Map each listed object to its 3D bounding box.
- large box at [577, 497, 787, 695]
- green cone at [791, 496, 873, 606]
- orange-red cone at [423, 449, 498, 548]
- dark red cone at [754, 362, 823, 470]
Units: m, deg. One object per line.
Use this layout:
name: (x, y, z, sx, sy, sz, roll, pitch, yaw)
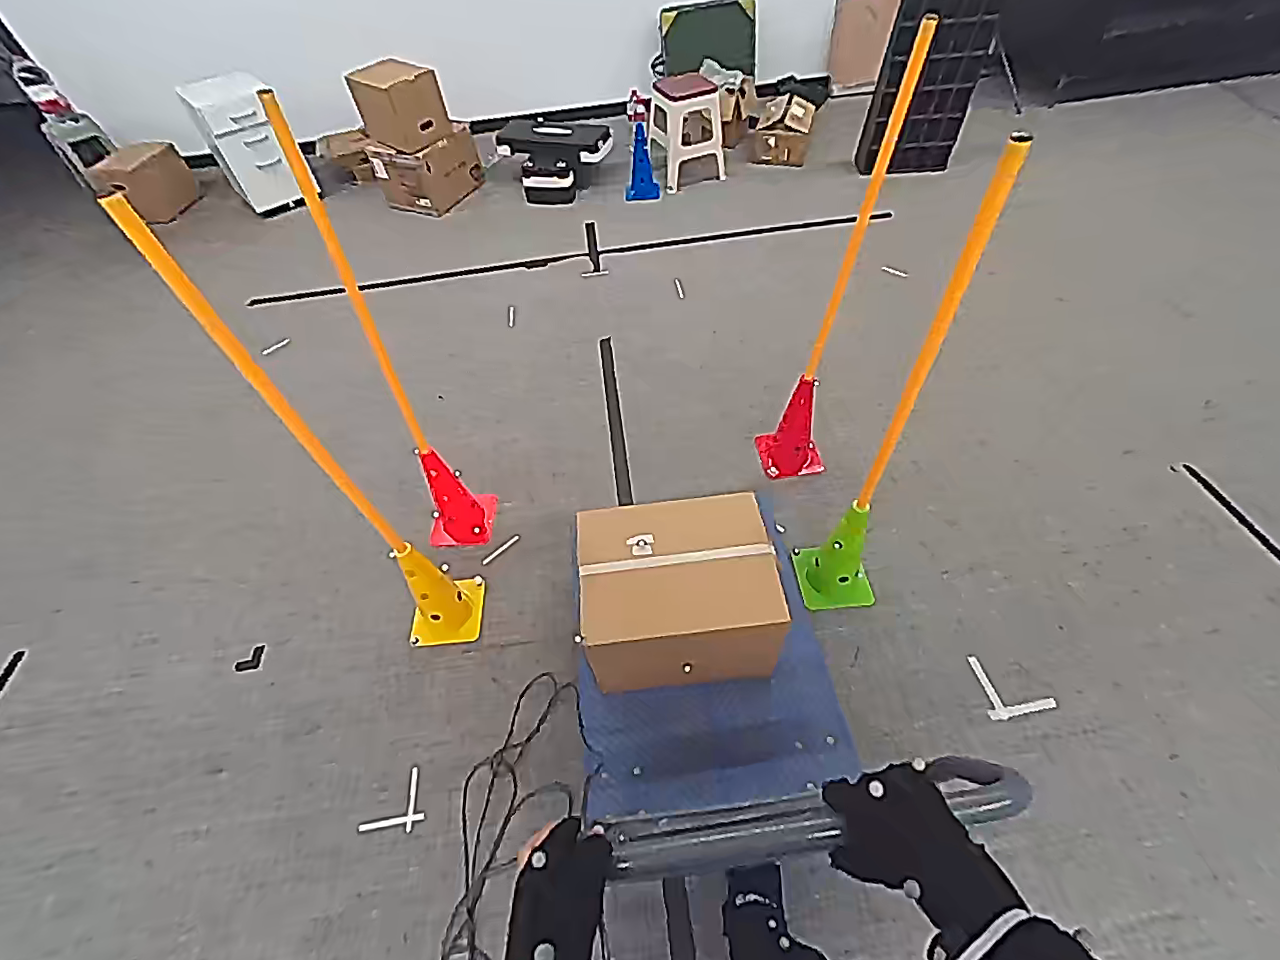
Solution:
large box: (0.085, 0.273, 1.242, 0.408, 0.320, 0.320, -8, 52, 0)
green cone: (0.555, 0.170, 1.464, 0.202, 0.368, 0.200, -5, 51, 0)
orange-red cone: (-0.596, 0.034, 1.681, 0.198, 0.360, 0.199, -2, 50, 2)
dark red cone: (0.508, -0.216, 1.753, 0.201, 0.394, 0.202, -8, 52, -3)
